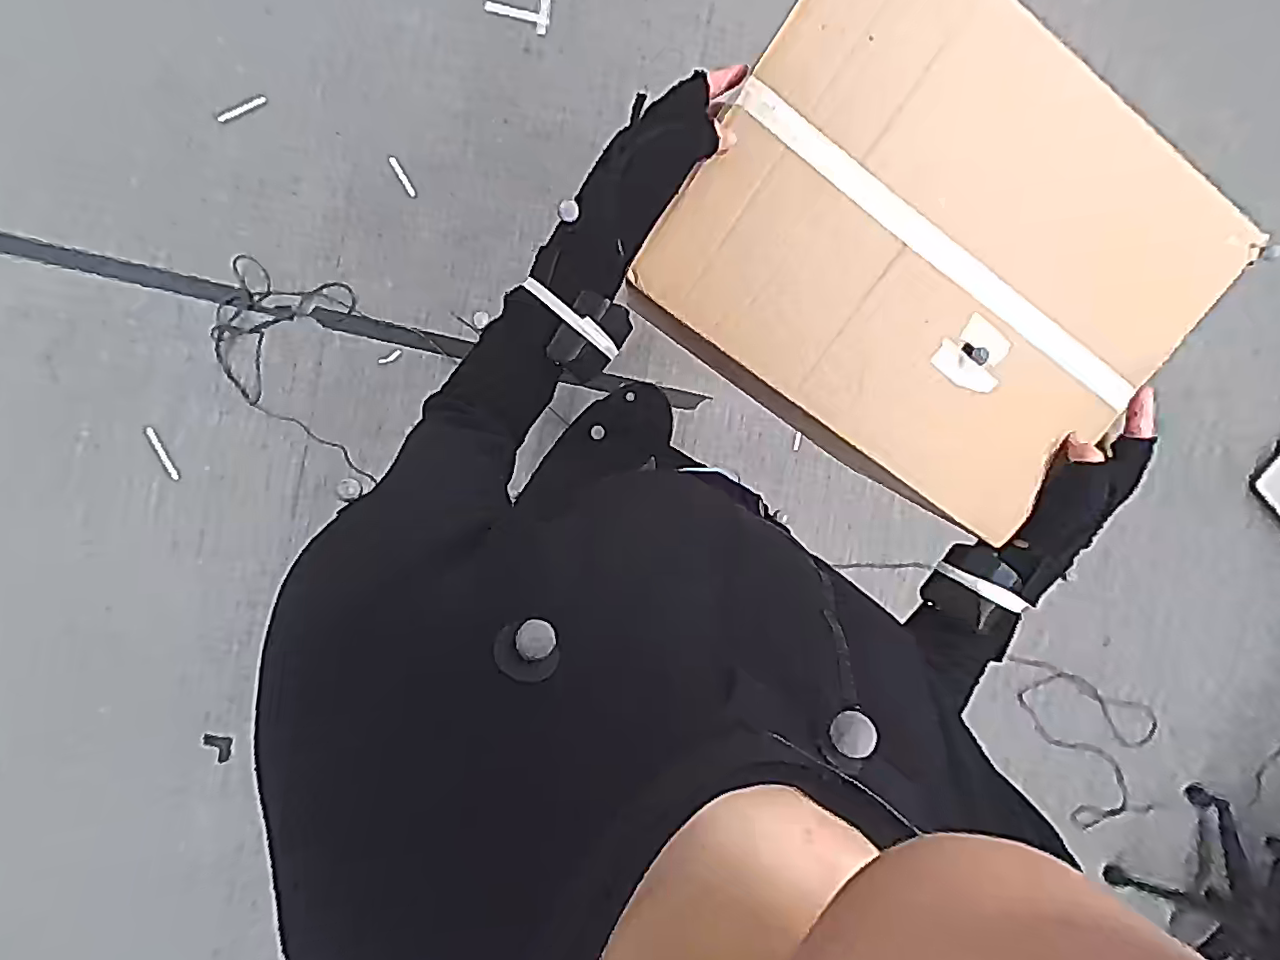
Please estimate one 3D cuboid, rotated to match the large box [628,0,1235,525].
[{"bbox_3d":[0.233,-0.219,0.581,0.408,0.320,0.320,33,102,-9],"label":"large box"}]
